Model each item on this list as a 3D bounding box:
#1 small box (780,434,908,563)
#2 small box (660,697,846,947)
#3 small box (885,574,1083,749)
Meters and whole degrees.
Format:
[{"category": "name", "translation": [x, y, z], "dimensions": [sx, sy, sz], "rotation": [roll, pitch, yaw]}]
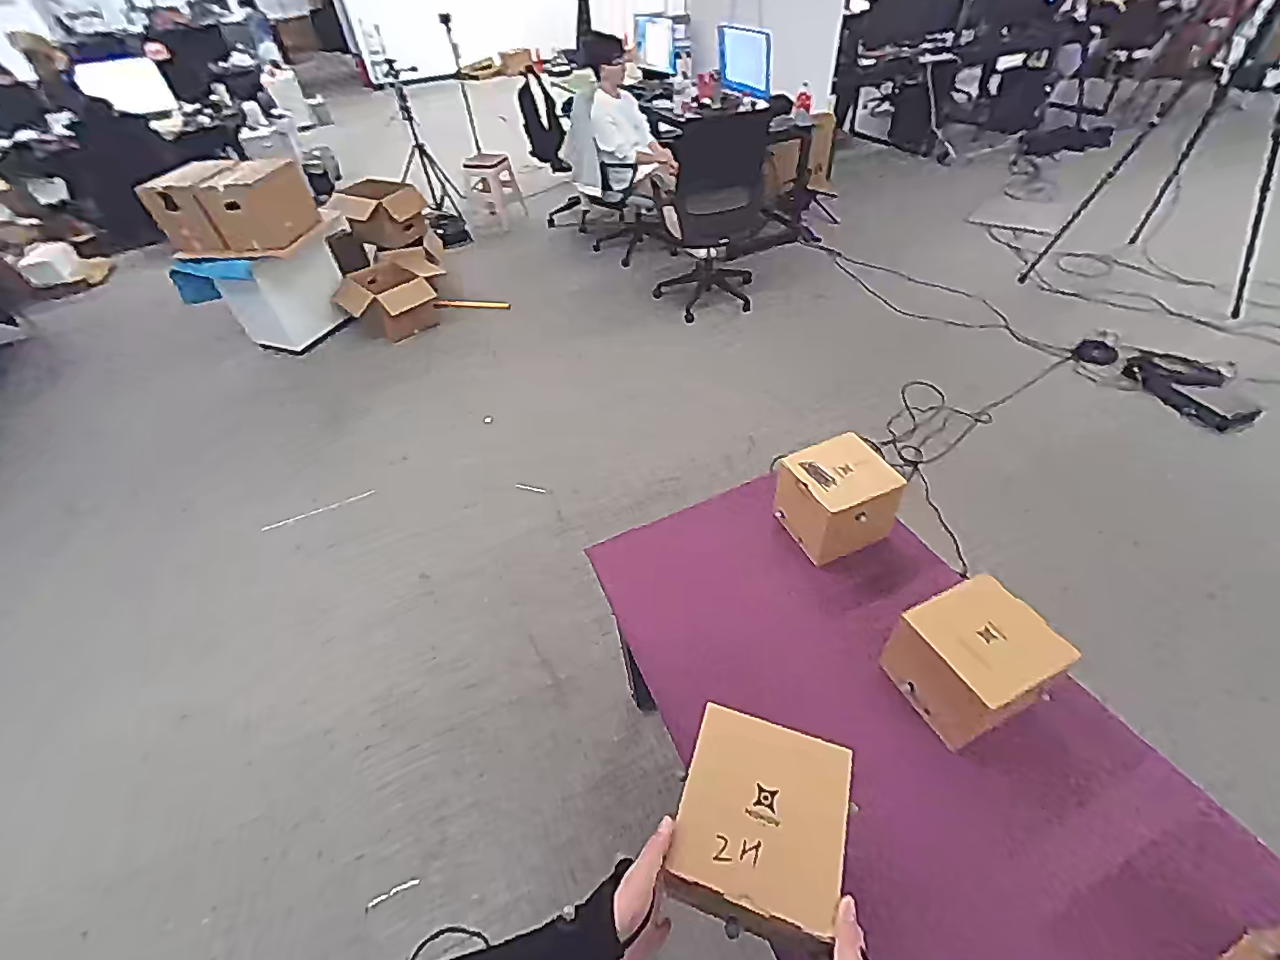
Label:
[{"category": "small box", "translation": [0.399, 0.040, 1.096], "dimensions": [0.179, 0.176, 0.168], "rotation": [-19, 47, -12]}, {"category": "small box", "translation": [0.125, 0.389, 0.619], "dimensions": [0.168, 0.176, 0.179], "rotation": [13, 47, 16]}, {"category": "small box", "translation": [0.519, 0.284, 0.848], "dimensions": [0.179, 0.176, 0.168], "rotation": [-21, 46, -14]}]
